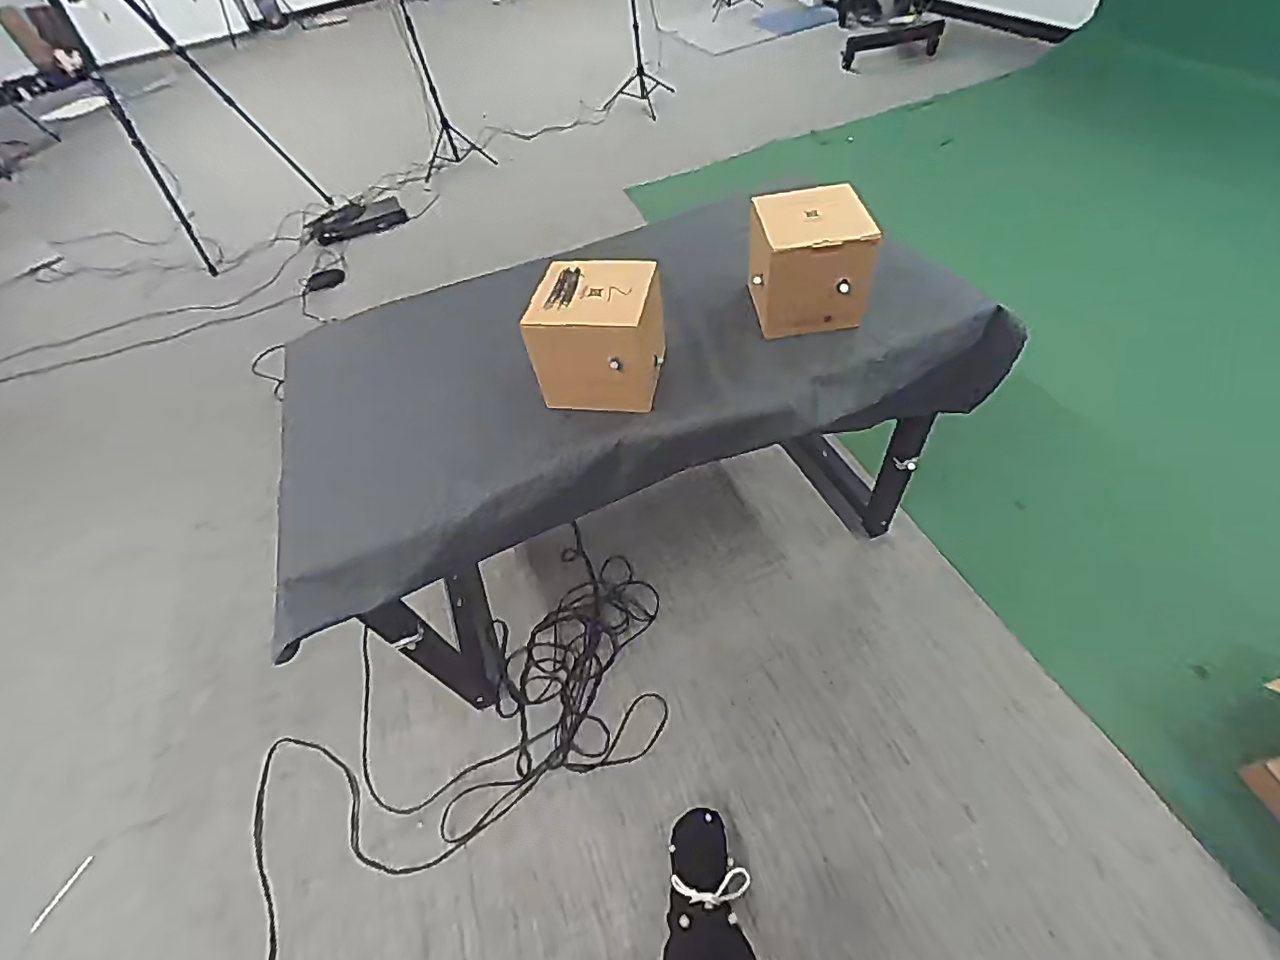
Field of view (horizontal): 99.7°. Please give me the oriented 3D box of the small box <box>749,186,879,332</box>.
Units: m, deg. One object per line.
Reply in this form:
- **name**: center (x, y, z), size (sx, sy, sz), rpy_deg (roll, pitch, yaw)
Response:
- **small box**: center (0.283, -0.368, 0.922), size (0.168, 0.176, 0.179), rpy_deg (-6, 50, 3)
